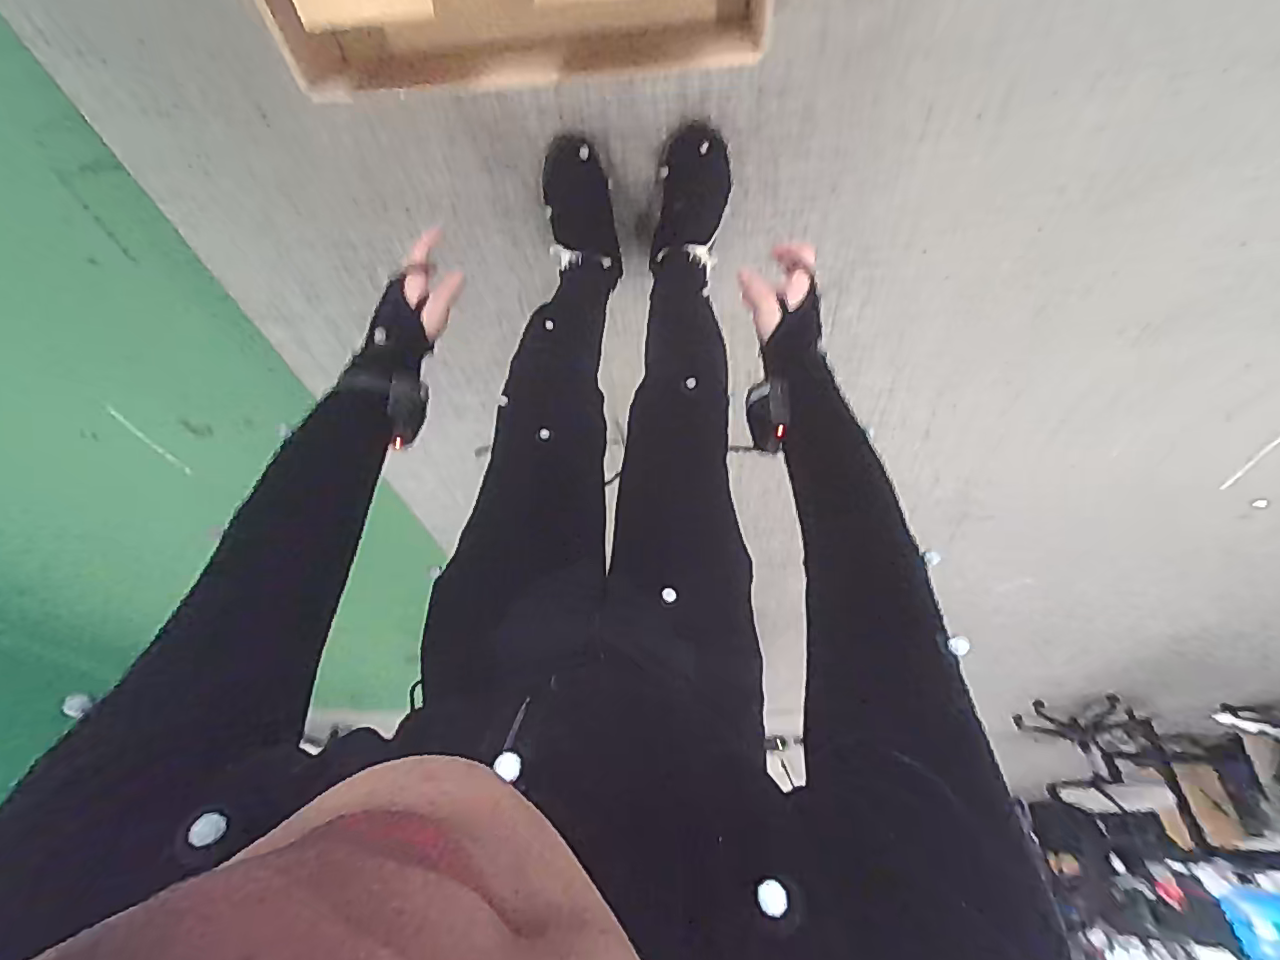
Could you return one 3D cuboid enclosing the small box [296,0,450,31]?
[{"bbox_3d":[-0.316,-0.654,0.620,0.168,0.176,0.179,-1,142,6],"label":"small box"}]
